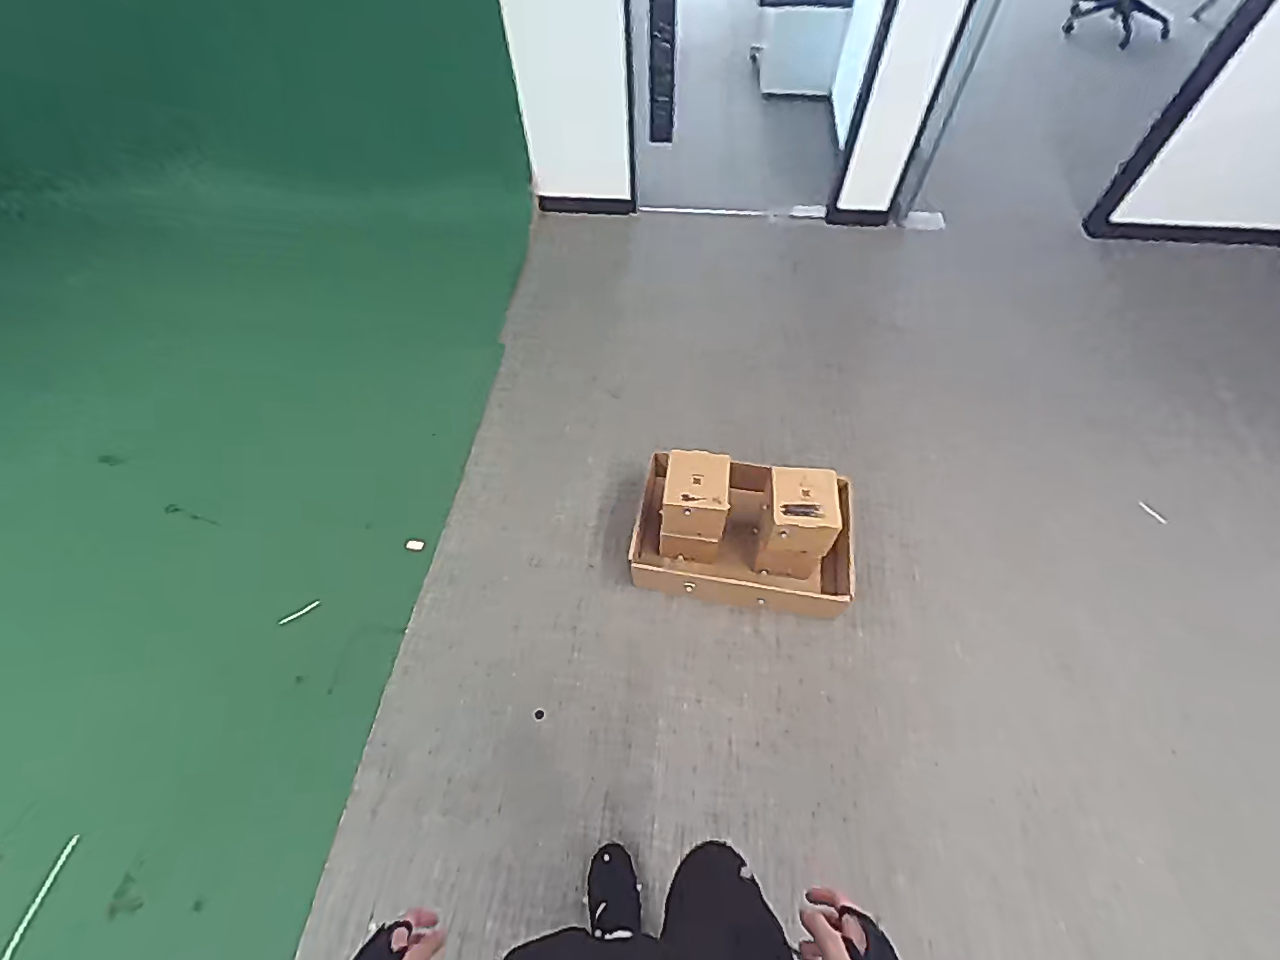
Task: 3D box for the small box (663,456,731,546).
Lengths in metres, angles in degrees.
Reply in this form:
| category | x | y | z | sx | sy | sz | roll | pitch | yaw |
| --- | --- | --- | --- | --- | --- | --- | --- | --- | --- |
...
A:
| category | x | y | z | sx | sy | sz | roll | pitch | yaw |
| --- | --- | --- | --- | --- | --- | --- | --- | --- | --- |
| small box | 0.153 | 0.058 | 1.476 | 0.168 | 0.176 | 0.179 | 6 | 56 | 6 |
